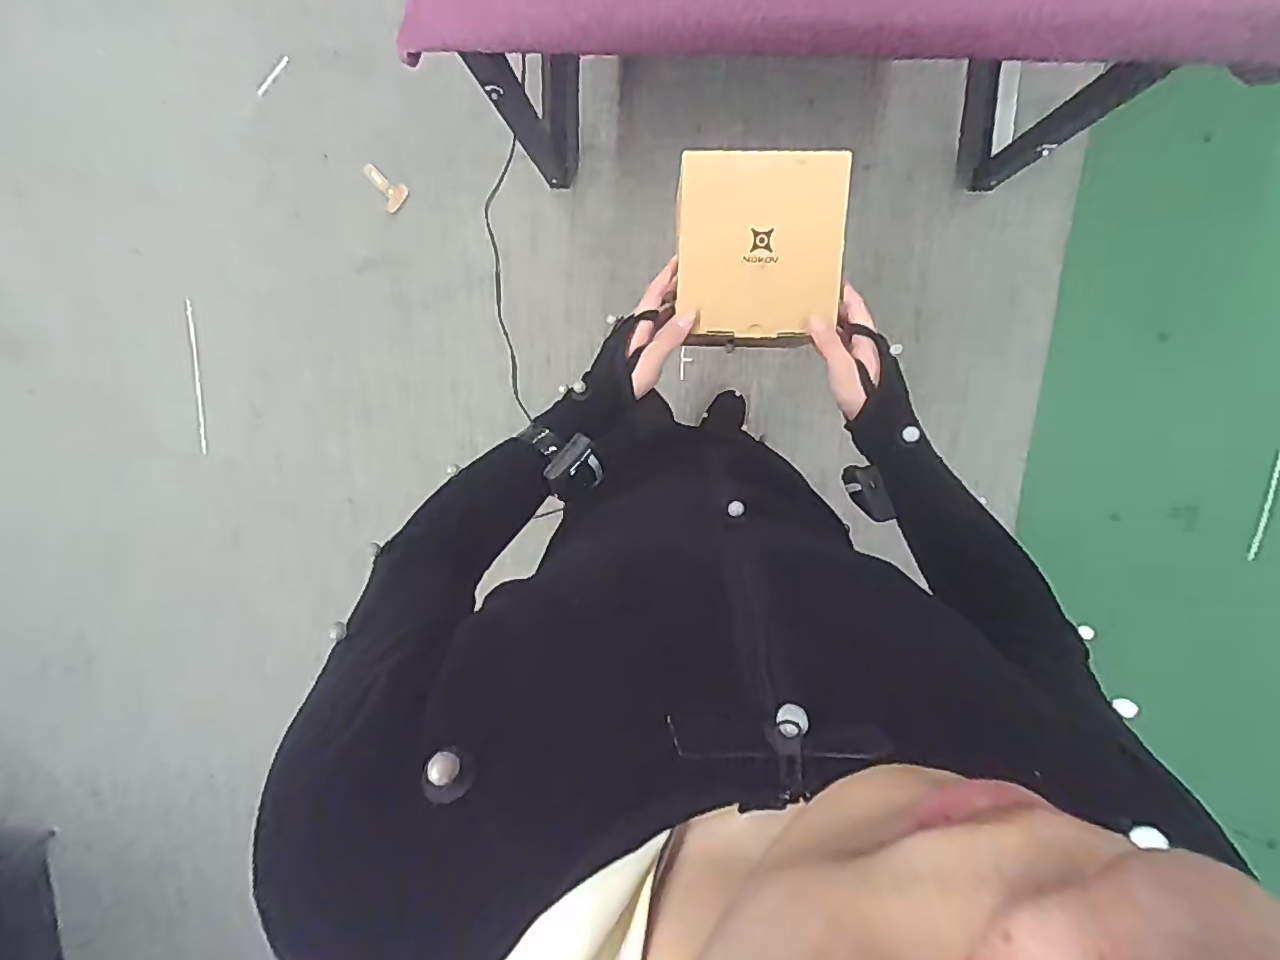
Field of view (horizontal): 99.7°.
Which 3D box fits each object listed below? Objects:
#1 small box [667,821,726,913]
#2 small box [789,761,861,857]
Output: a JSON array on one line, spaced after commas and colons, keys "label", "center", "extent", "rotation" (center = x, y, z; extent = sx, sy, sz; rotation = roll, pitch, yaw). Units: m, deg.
[{"label": "small box", "center": [0.183, 1.248, 1.761], "extent": [0.168, 0.176, 0.179], "rotation": [7, 101, 5]}, {"label": "small box", "center": [0.566, 1.017, 1.680], "extent": [0.168, 0.176, 0.179], "rotation": [5, 102, 4]}]
